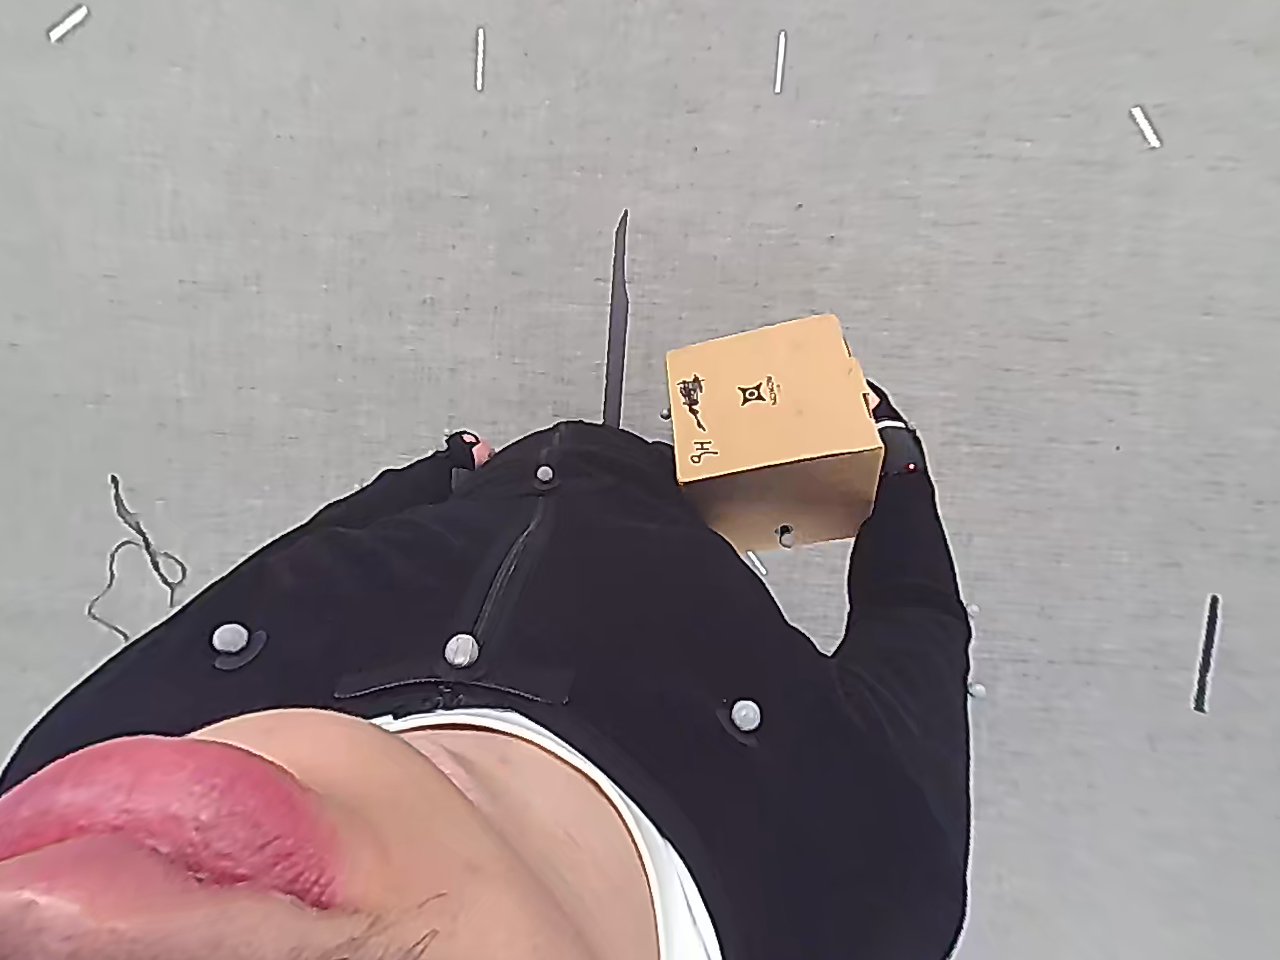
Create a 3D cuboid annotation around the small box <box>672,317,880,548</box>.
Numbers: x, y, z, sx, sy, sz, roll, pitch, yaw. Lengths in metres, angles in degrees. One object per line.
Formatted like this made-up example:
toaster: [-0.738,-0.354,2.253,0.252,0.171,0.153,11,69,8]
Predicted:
small box: [0.139,-0.042,0.584,0.179,0.176,0.168,-10,56,12]
